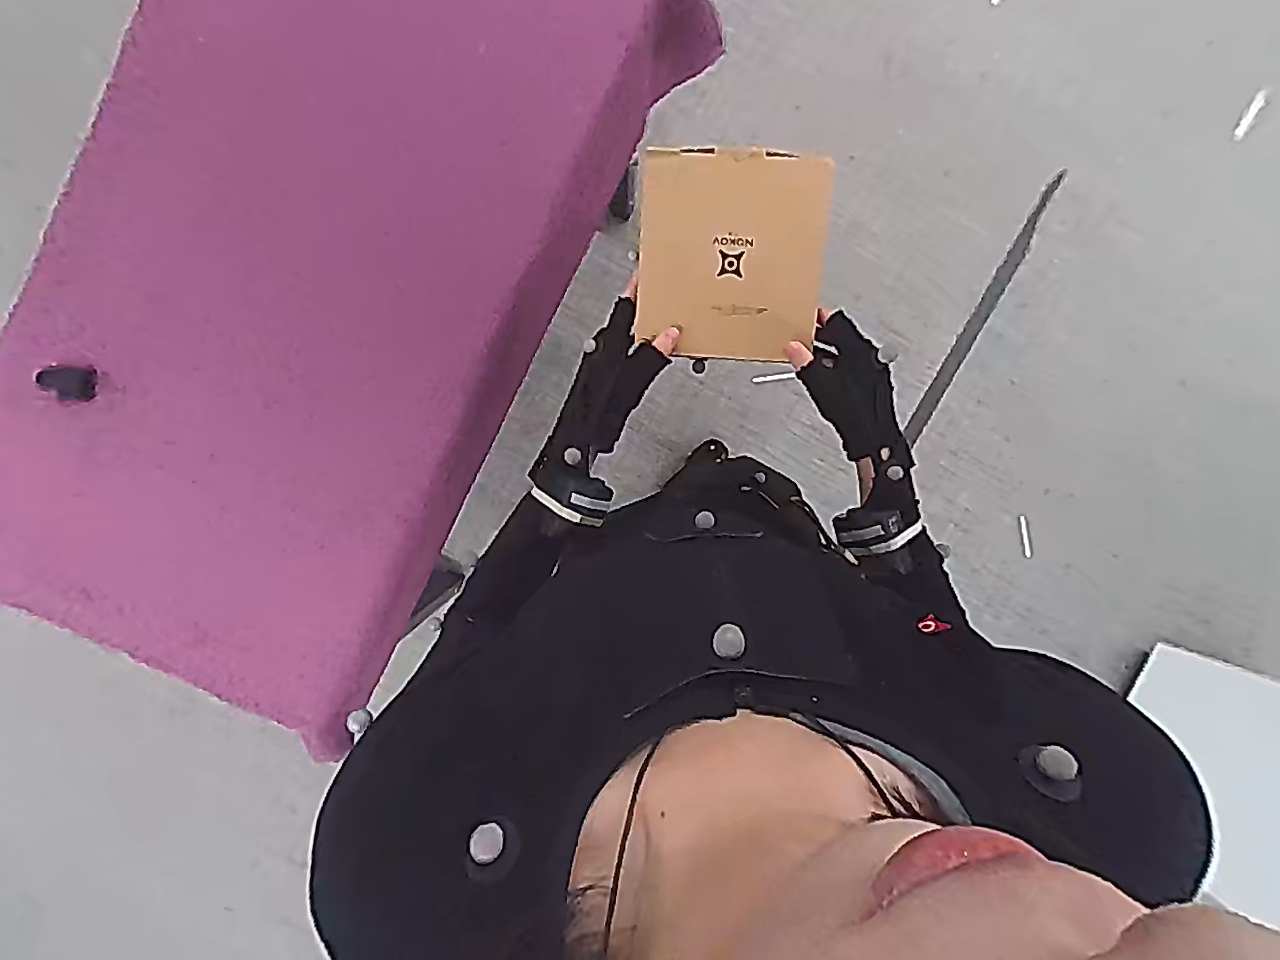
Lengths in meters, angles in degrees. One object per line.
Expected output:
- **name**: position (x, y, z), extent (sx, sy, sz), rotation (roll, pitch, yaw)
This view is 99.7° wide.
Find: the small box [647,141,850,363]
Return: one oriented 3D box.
- **small box**: position (0.095, -0.216, 0.557), extent (0.168, 0.176, 0.179), rotation (5, 103, 1)
